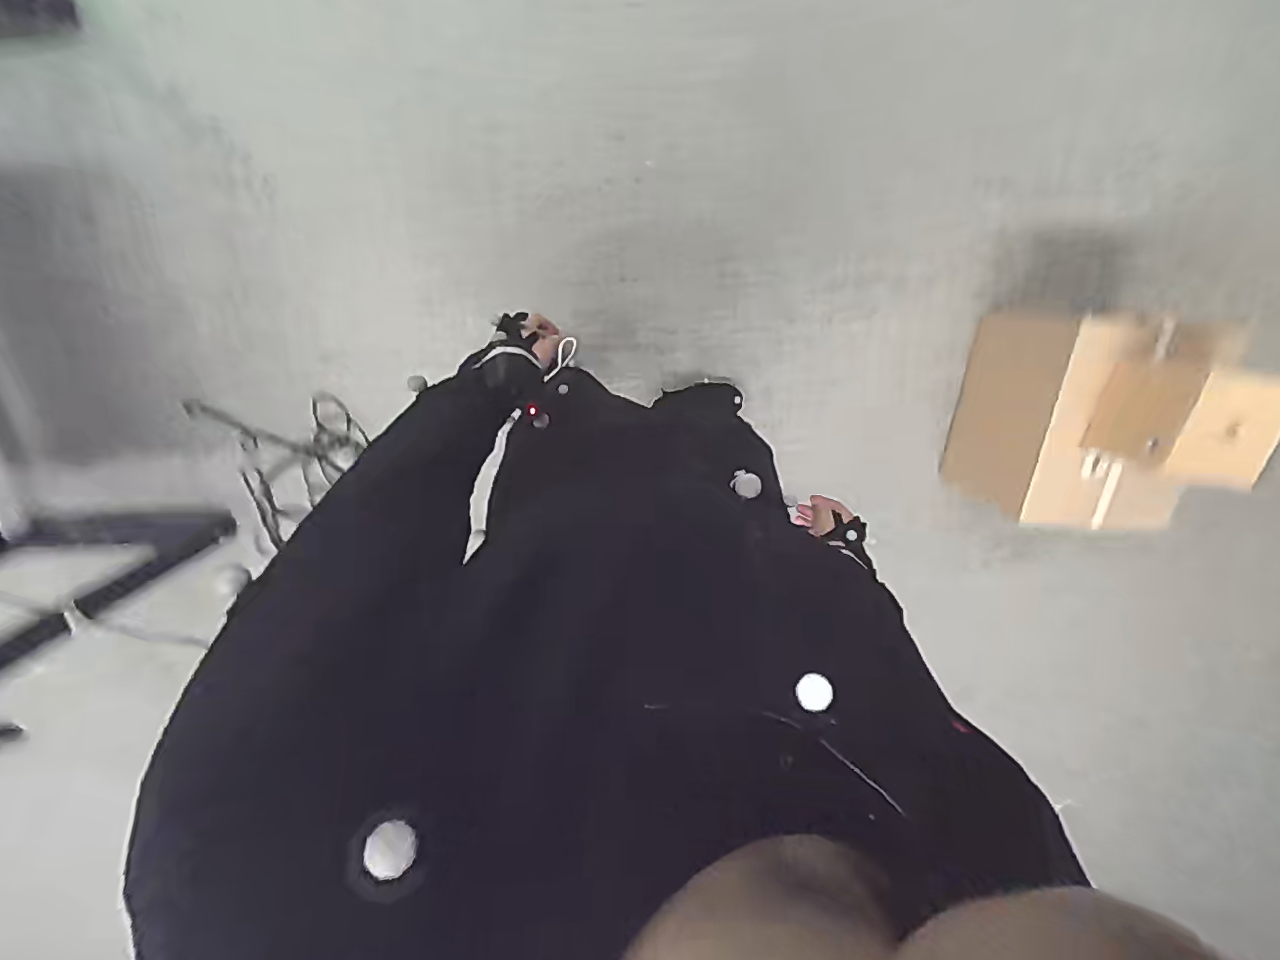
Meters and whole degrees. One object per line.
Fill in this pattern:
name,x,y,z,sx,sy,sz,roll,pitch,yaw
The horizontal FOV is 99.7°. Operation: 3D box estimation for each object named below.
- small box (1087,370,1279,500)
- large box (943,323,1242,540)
small box,0.936,-0.085,0.935,0.168,0.176,0.179,9,109,-4
large box,0.931,-0.121,1.179,0.320,0.320,0.408,4,110,-1
